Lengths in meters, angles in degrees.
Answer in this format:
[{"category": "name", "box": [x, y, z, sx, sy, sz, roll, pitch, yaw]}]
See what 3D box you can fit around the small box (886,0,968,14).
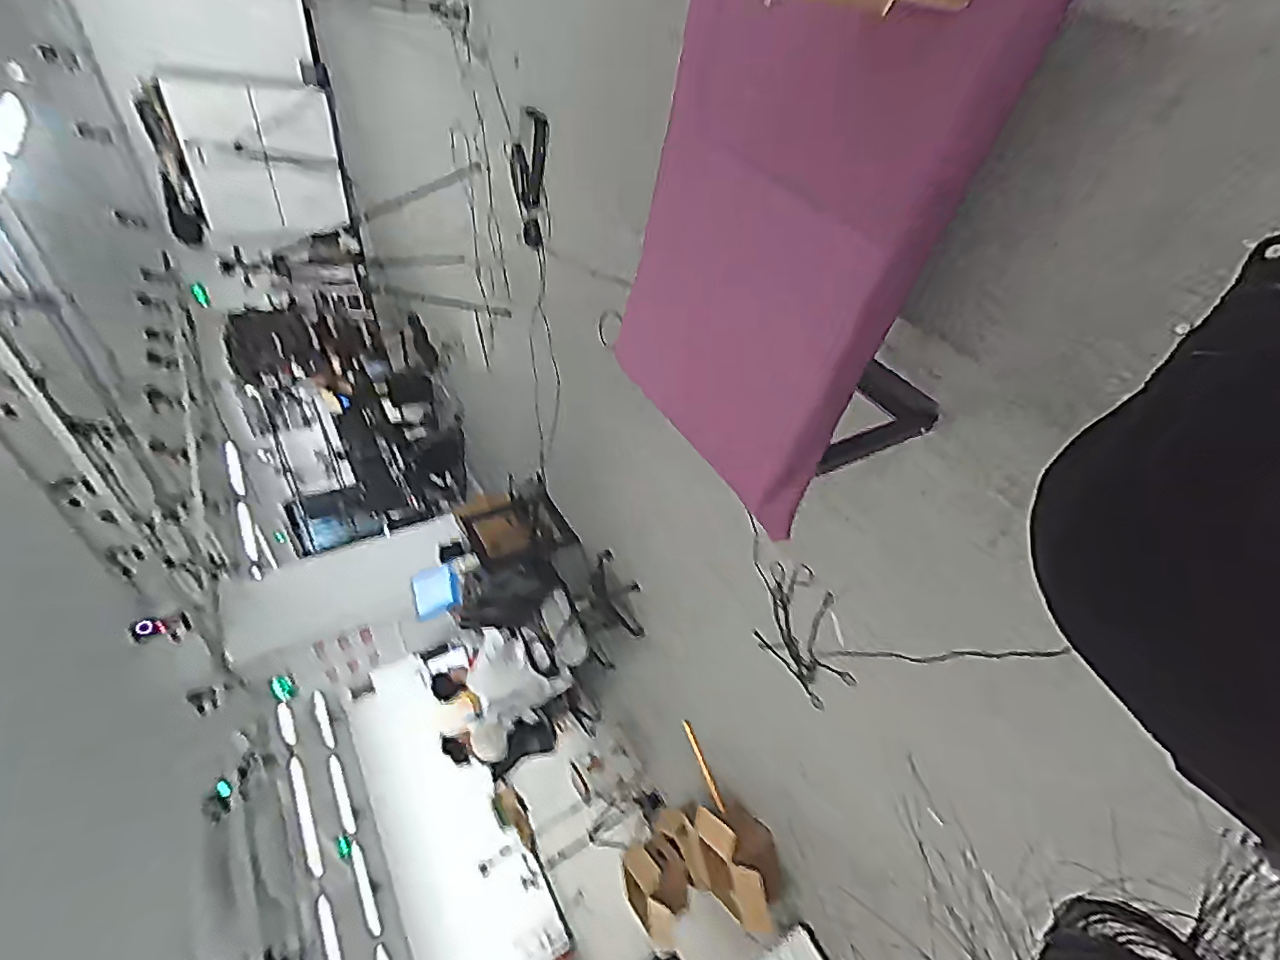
[{"category": "small box", "box": [0.304, -0.666, 0.613, 0.168, 0.176, 0.179, 52, 146, 35]}]
